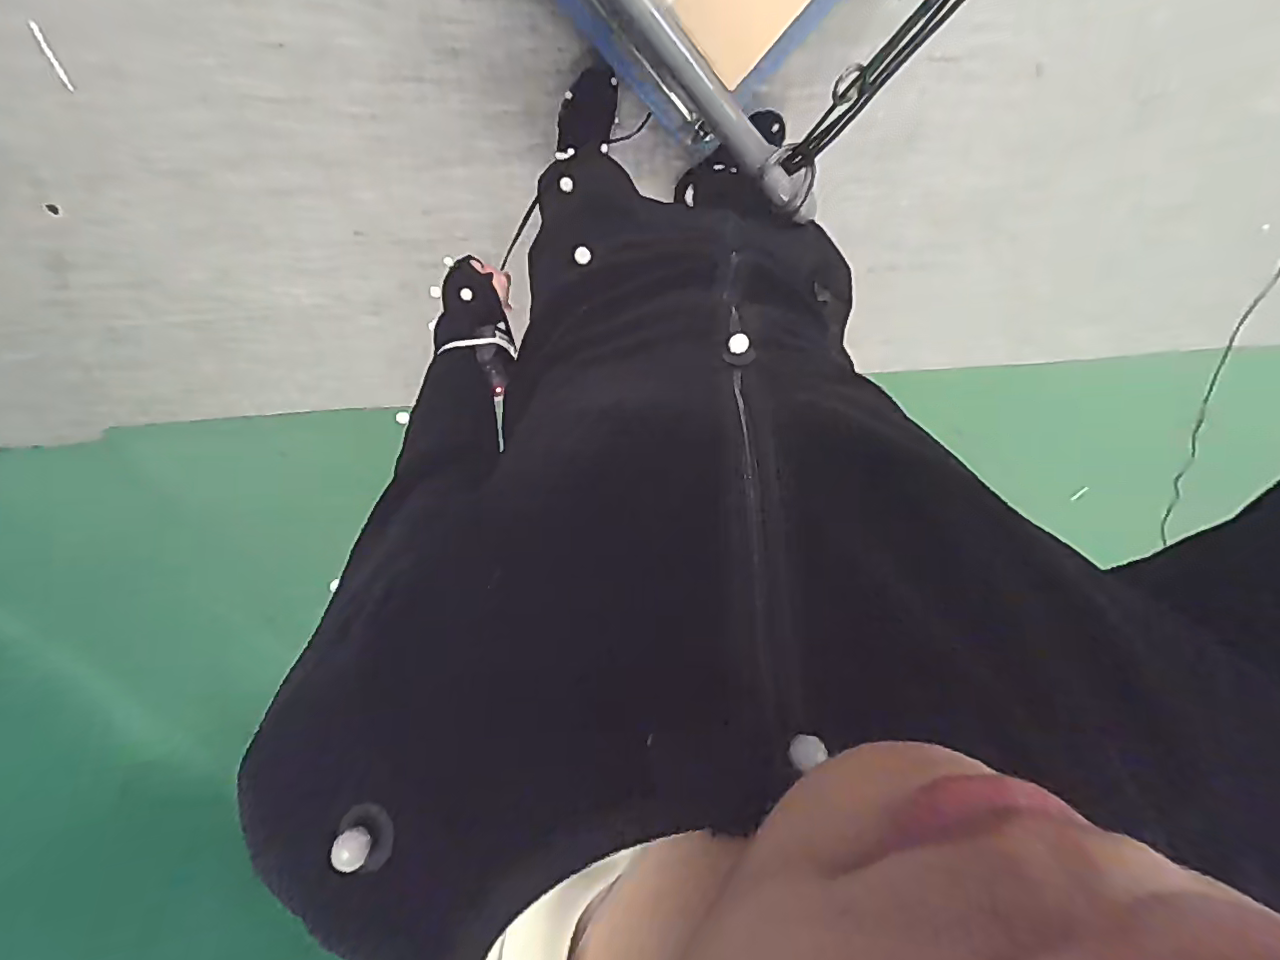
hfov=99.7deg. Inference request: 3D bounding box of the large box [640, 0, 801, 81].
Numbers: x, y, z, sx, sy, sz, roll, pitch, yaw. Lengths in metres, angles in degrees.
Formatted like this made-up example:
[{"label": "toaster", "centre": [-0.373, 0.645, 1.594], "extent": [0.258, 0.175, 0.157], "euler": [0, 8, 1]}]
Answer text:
[{"label": "large box", "centre": [0.145, -0.882, 0.768], "extent": [0.320, 0.320, 0.408], "euler": [33, 119, -31]}]
